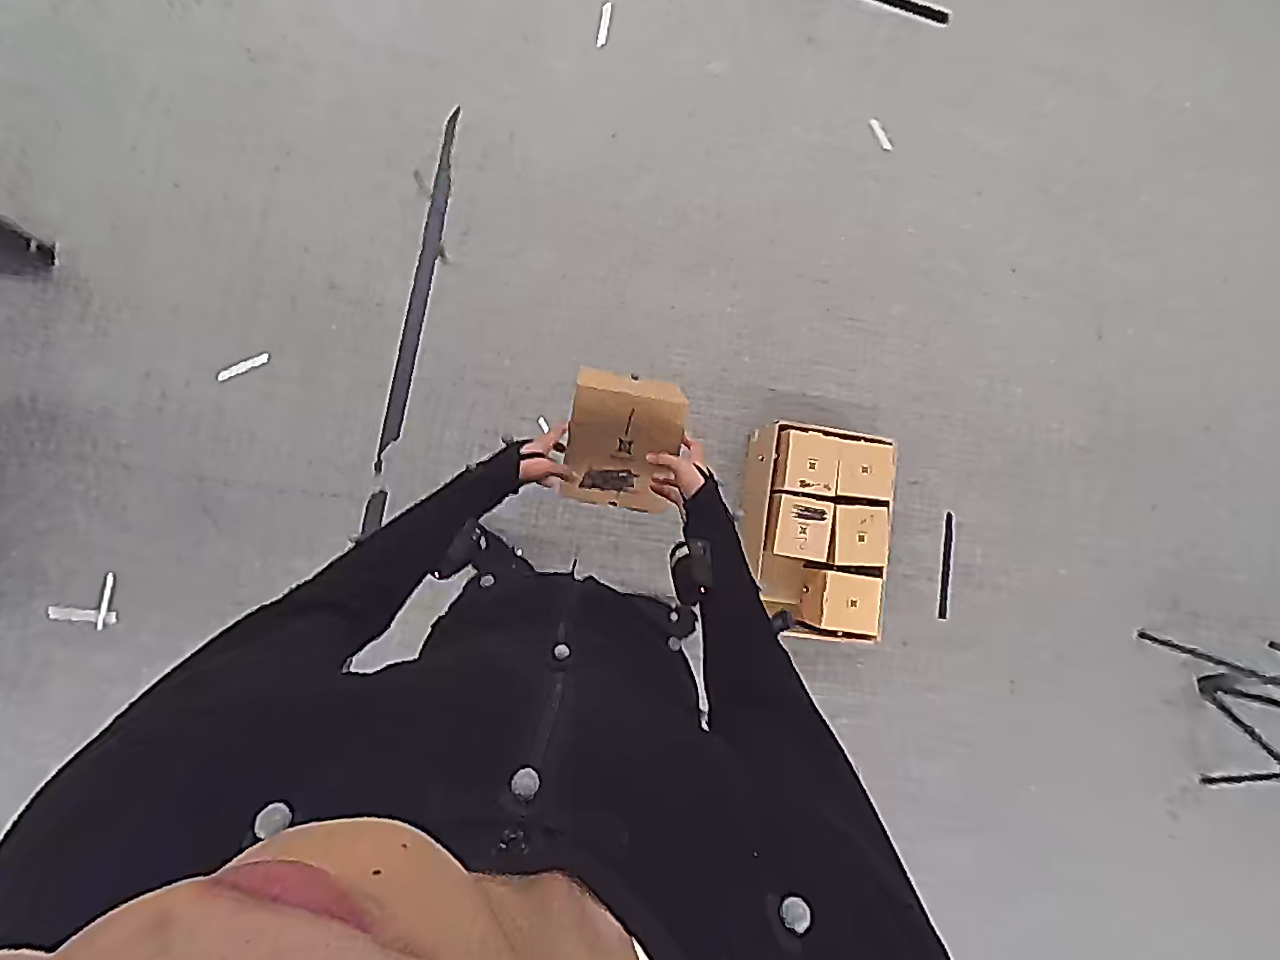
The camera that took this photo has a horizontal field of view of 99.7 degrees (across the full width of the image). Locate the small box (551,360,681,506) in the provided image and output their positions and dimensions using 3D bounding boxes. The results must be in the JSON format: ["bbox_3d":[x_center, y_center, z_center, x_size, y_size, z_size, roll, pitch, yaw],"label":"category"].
[{"bbox_3d":[-0.041,-0.080,0.856,0.168,0.176,0.179,9,109,-8],"label":"small box"}]
